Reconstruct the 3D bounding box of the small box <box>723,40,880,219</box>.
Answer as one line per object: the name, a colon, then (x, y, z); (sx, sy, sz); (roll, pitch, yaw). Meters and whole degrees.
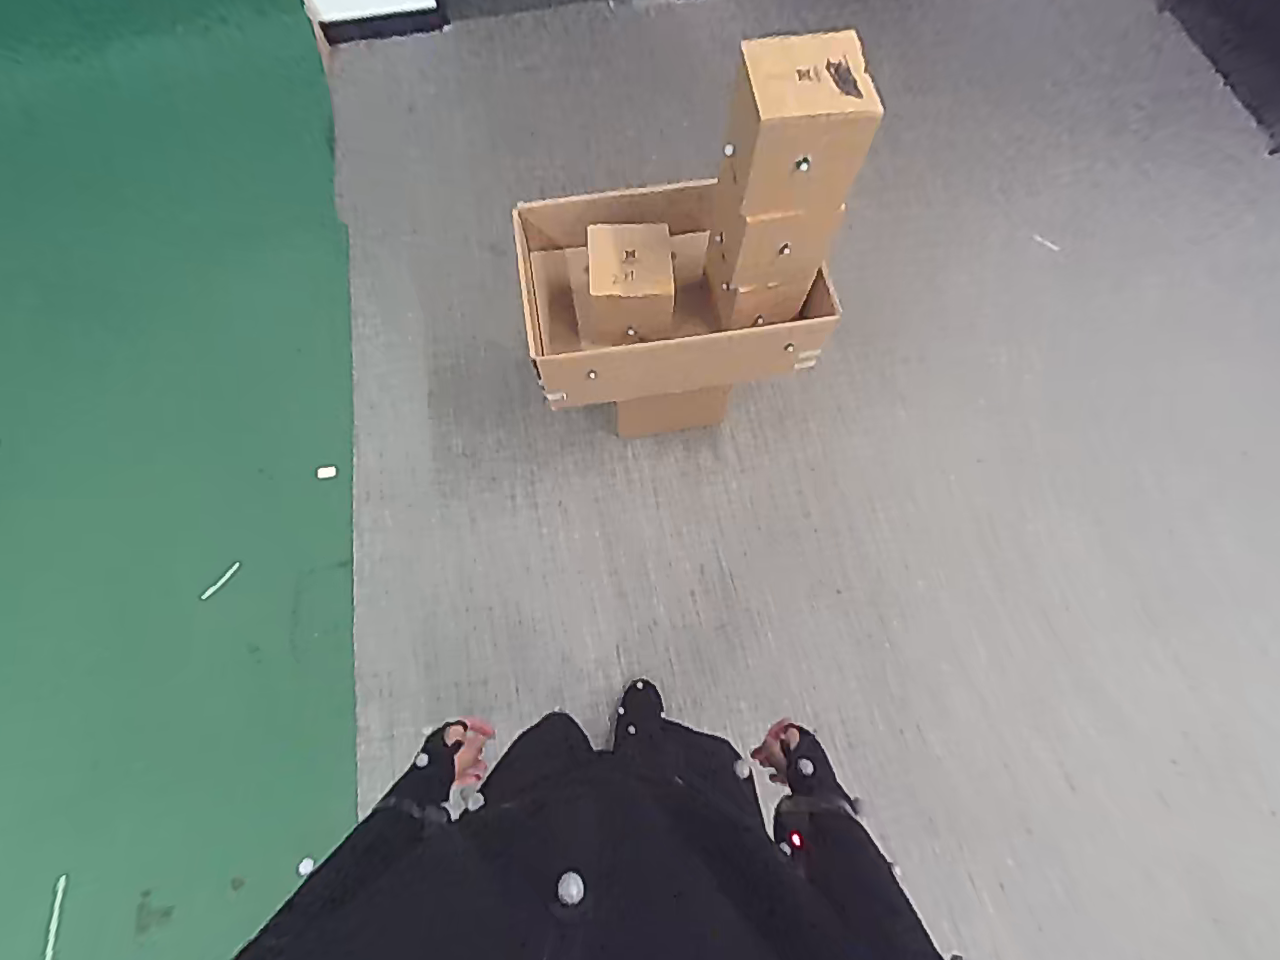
small box: (0.238, -0.539, 0.845); (0.179, 0.176, 0.168); (-6, 70, -2)
